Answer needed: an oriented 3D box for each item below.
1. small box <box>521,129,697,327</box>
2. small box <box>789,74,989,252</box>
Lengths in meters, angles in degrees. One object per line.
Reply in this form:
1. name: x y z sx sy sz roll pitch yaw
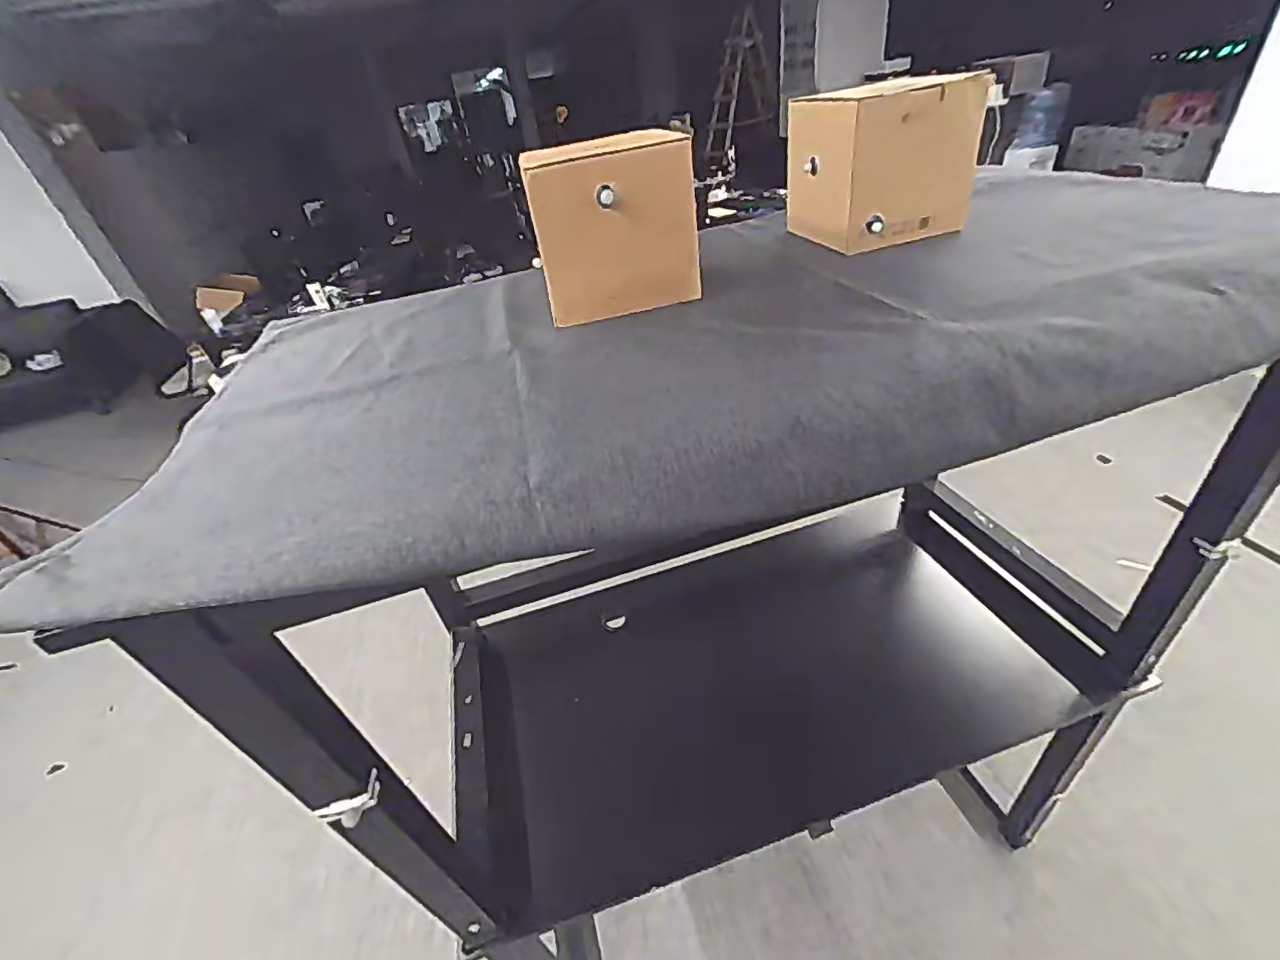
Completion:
1. small box: -0.035 -0.302 0.646 0.179 0.176 0.168 -13 36 -4
2. small box: 0.309 -0.412 0.711 0.168 0.176 0.179 -14 36 -6
